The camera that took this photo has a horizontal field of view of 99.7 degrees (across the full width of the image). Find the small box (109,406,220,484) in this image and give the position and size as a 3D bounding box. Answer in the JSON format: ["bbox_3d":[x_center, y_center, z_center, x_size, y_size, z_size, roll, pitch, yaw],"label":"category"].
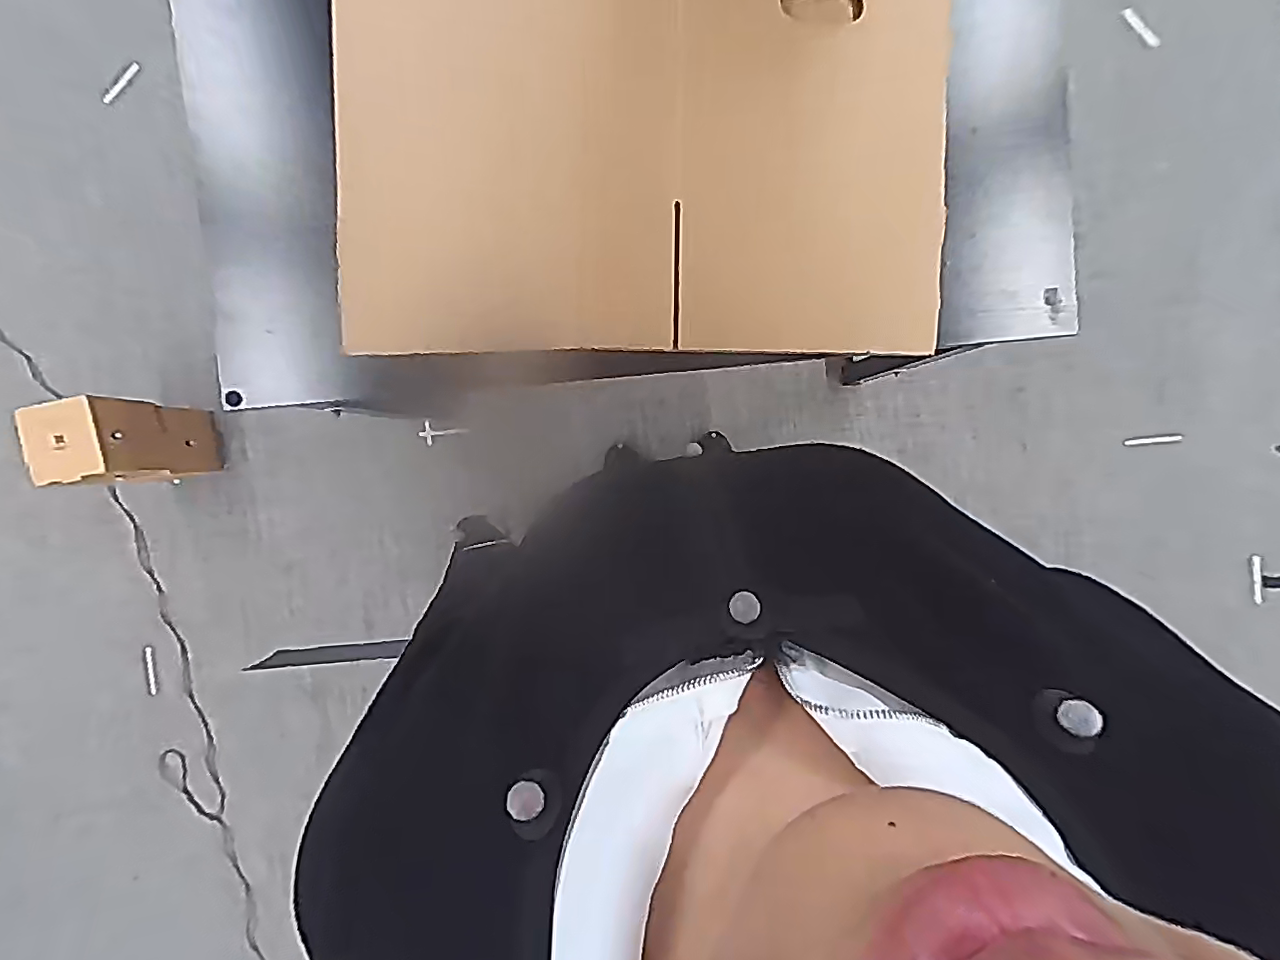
[{"bbox_3d":[-1.255,-0.089,1.419,0.168,0.176,0.179,-9,94,1],"label":"small box"}]

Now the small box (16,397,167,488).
[{"bbox_3d":[-1.258,-0.086,1.256,0.168,0.176,0.179,-12,92,0],"label":"small box"}]
